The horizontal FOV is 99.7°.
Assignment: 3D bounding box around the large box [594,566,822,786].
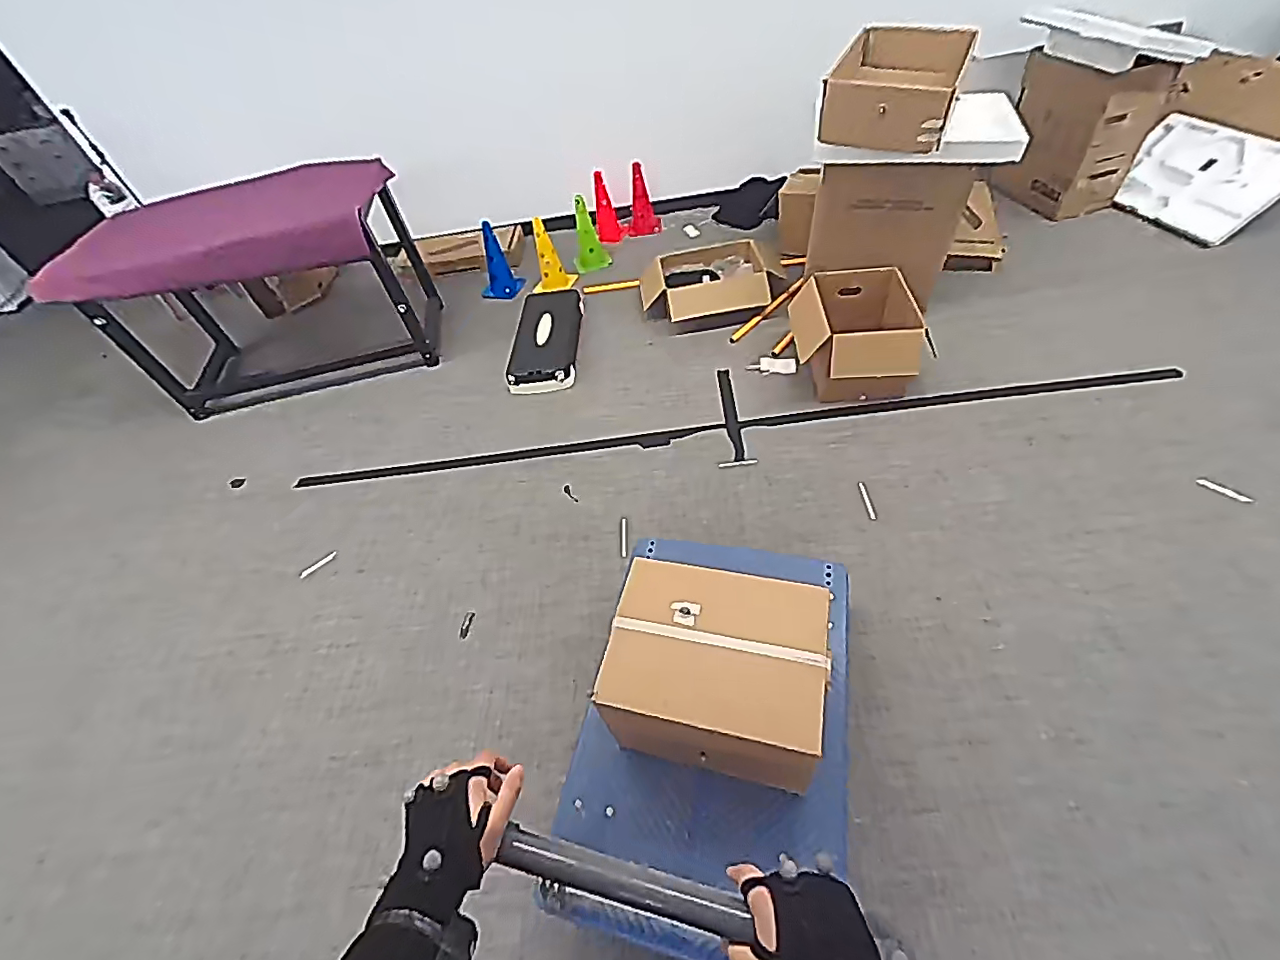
[{"bbox_3d":[0.164,0.416,1.155,0.408,0.320,0.320,6,50,16],"label":"large box"}]
